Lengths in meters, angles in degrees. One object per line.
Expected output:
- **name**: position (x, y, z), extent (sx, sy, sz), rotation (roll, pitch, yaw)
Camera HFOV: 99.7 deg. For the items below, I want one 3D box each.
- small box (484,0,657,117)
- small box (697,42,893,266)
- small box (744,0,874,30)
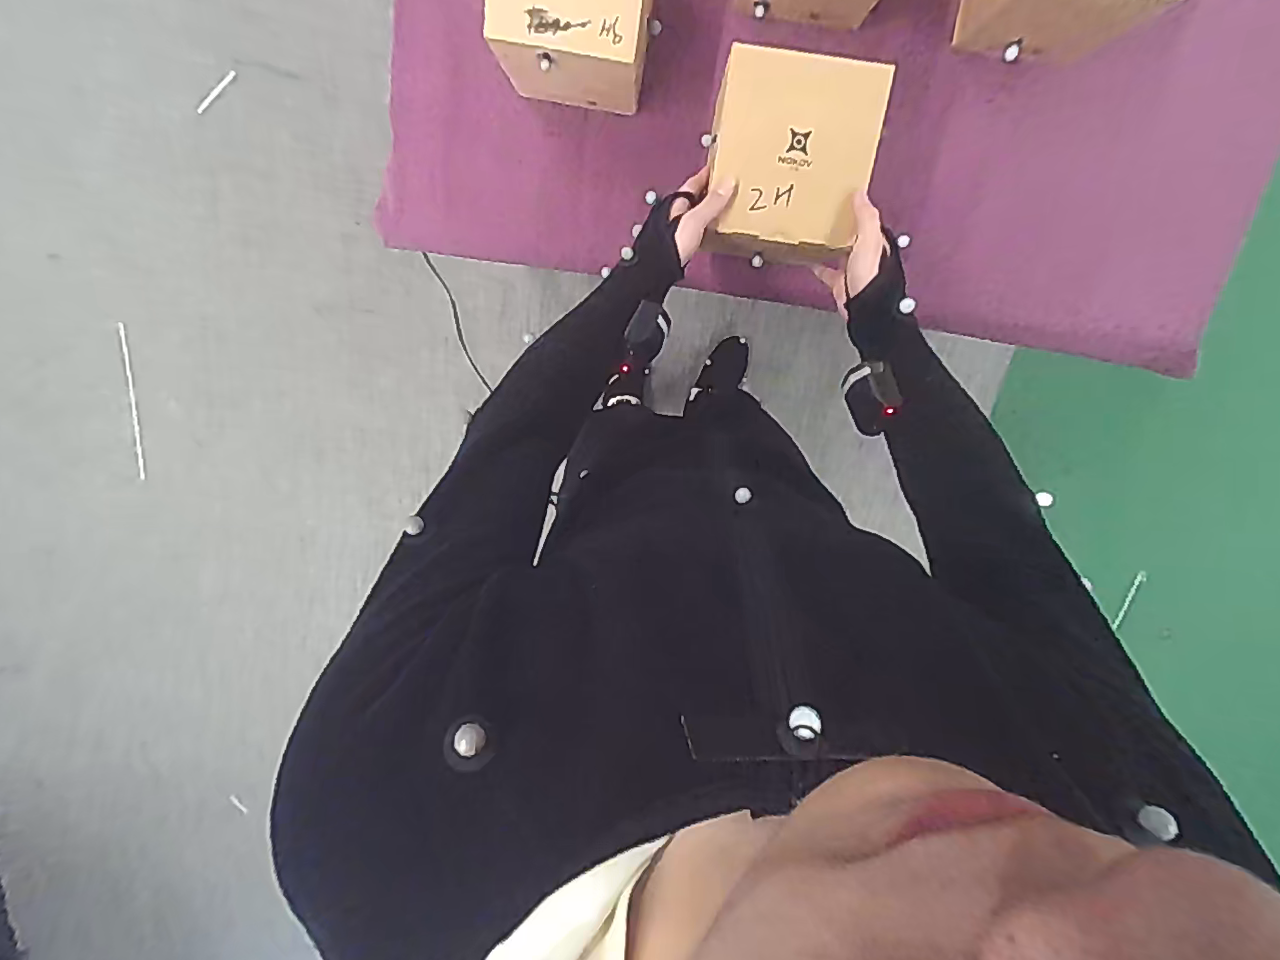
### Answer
- **small box**: position (-0.070, -0.564, 0.632), extent (0.168, 0.176, 0.179), rotation (10, 107, -1)
- **small box**: position (0.165, -0.365, 0.641), extent (0.168, 0.176, 0.179), rotation (9, 106, 0)
- **small box**: position (0.212, -0.651, 0.603), extent (0.168, 0.176, 0.179), rotation (8, 107, -2)
